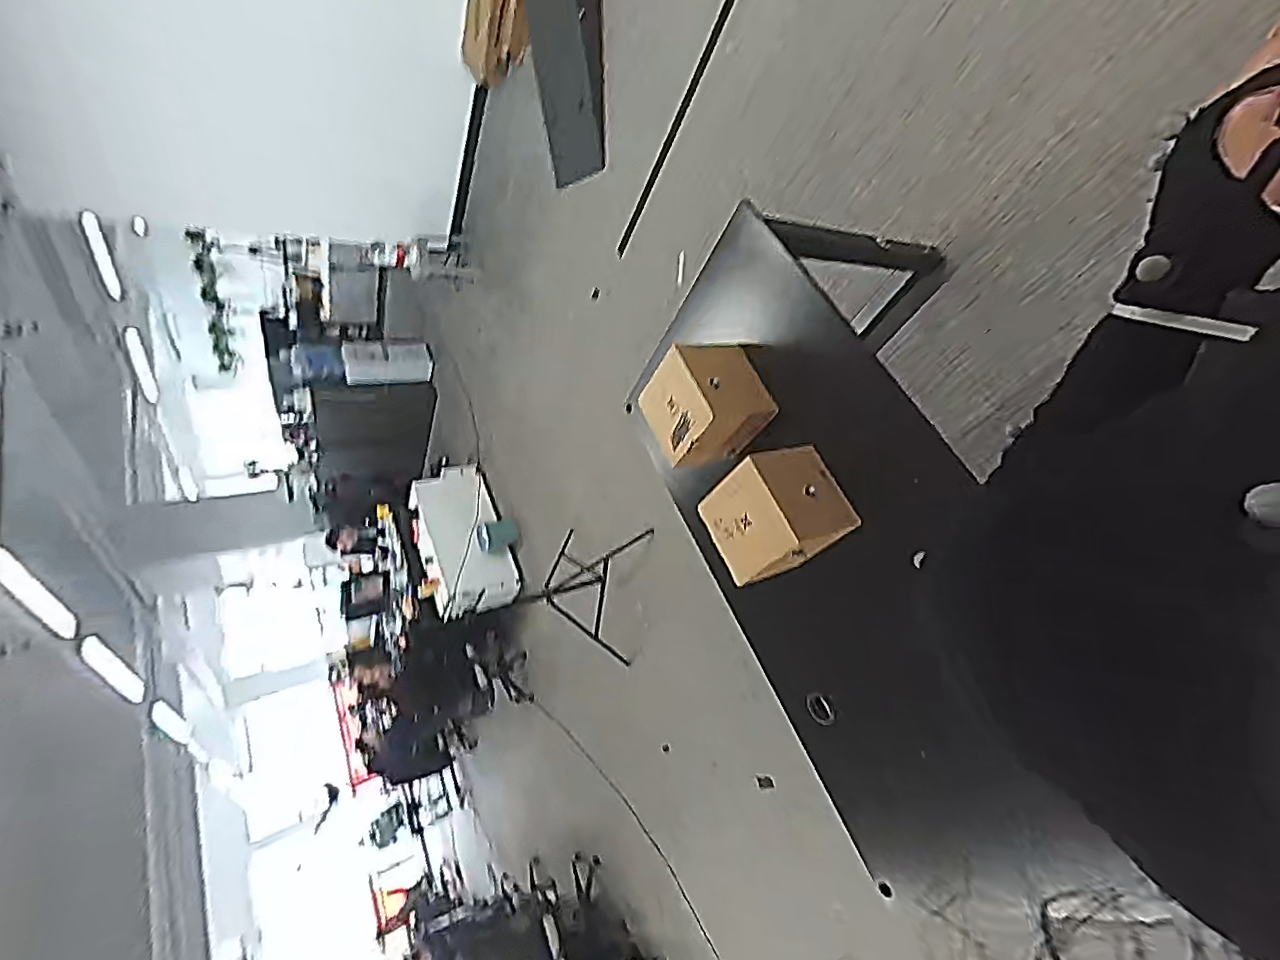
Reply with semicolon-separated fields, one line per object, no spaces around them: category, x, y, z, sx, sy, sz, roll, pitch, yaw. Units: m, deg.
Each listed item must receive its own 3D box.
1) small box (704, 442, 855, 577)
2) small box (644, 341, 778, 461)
small box;0.253;0.049;0.966;0.179;0.176;0.168;-52;56;48
small box;0.140;-0.161;1.073;0.168;0.176;0.179;-52;56;49
